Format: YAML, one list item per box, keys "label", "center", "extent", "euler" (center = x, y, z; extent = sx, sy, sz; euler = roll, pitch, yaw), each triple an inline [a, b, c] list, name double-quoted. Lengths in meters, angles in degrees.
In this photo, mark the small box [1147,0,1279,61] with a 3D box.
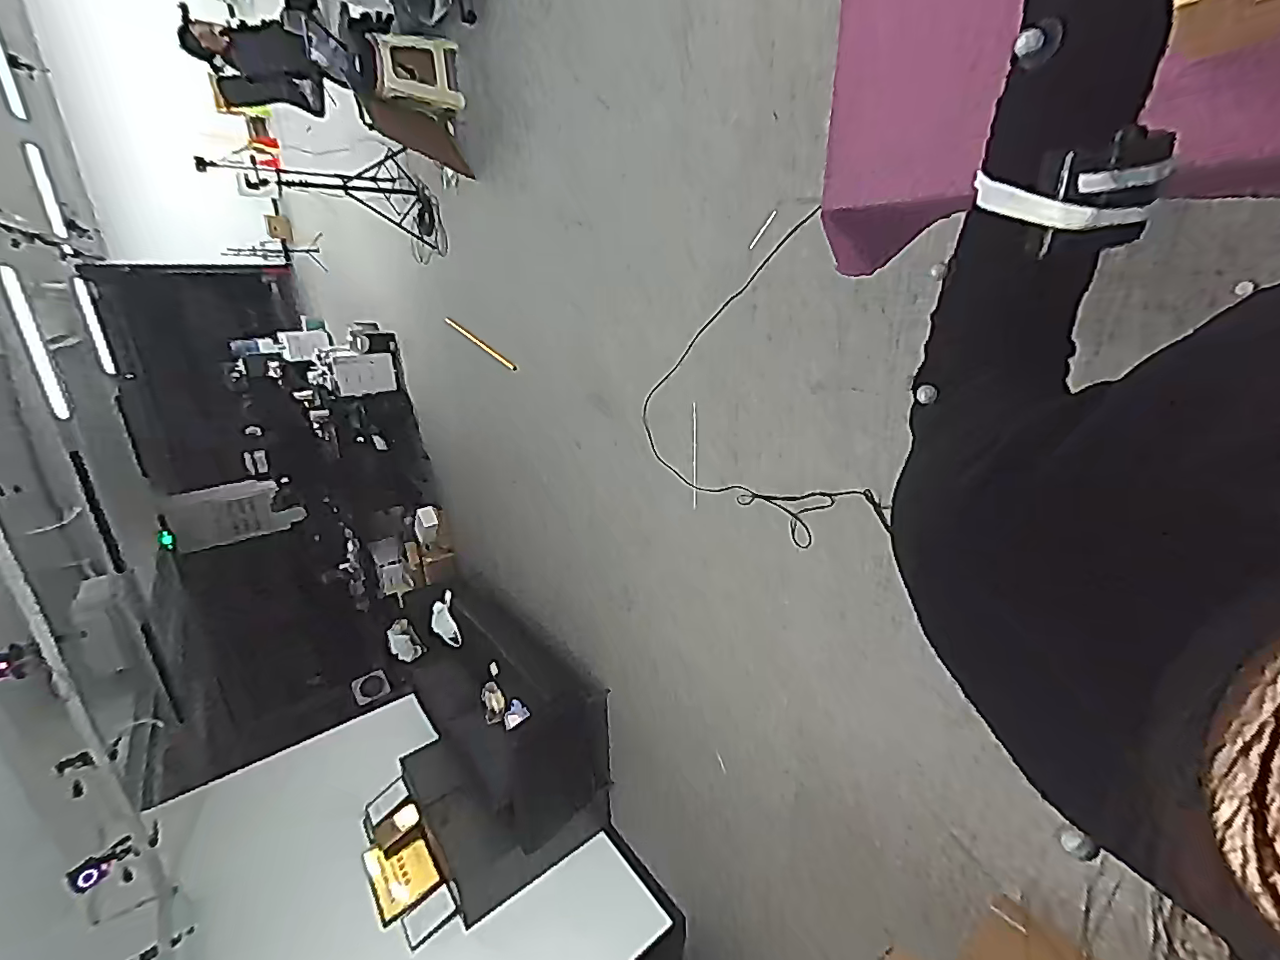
- label: "small box"
  center: [0.509, -0.443, 0.384]
  extent: [0.168, 0.176, 0.179]
  euler: [21, 119, 49]
